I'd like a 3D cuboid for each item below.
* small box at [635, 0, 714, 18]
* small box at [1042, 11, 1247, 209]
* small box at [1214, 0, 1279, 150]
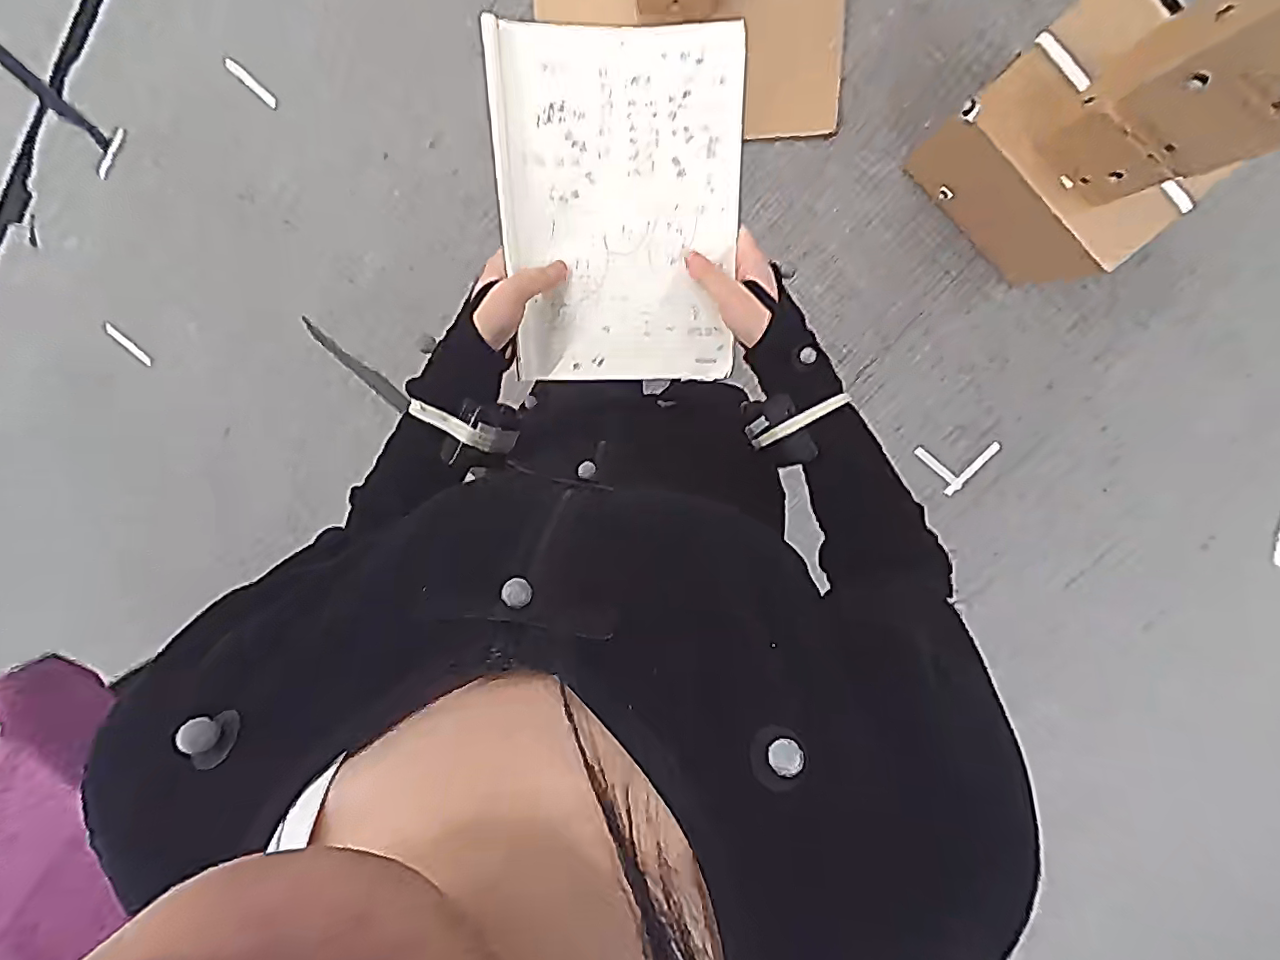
[{"bbox_3d":[0.079,-1.102,1.119,0.179,0.176,0.168,4,104,1],"label":"small box"},{"bbox_3d":[0.808,-0.578,0.879,0.168,0.176,0.179,38,103,-6],"label":"small box"},{"bbox_3d":[0.790,-0.492,0.561,0.168,0.176,0.179,41,104,-6],"label":"small box"}]
